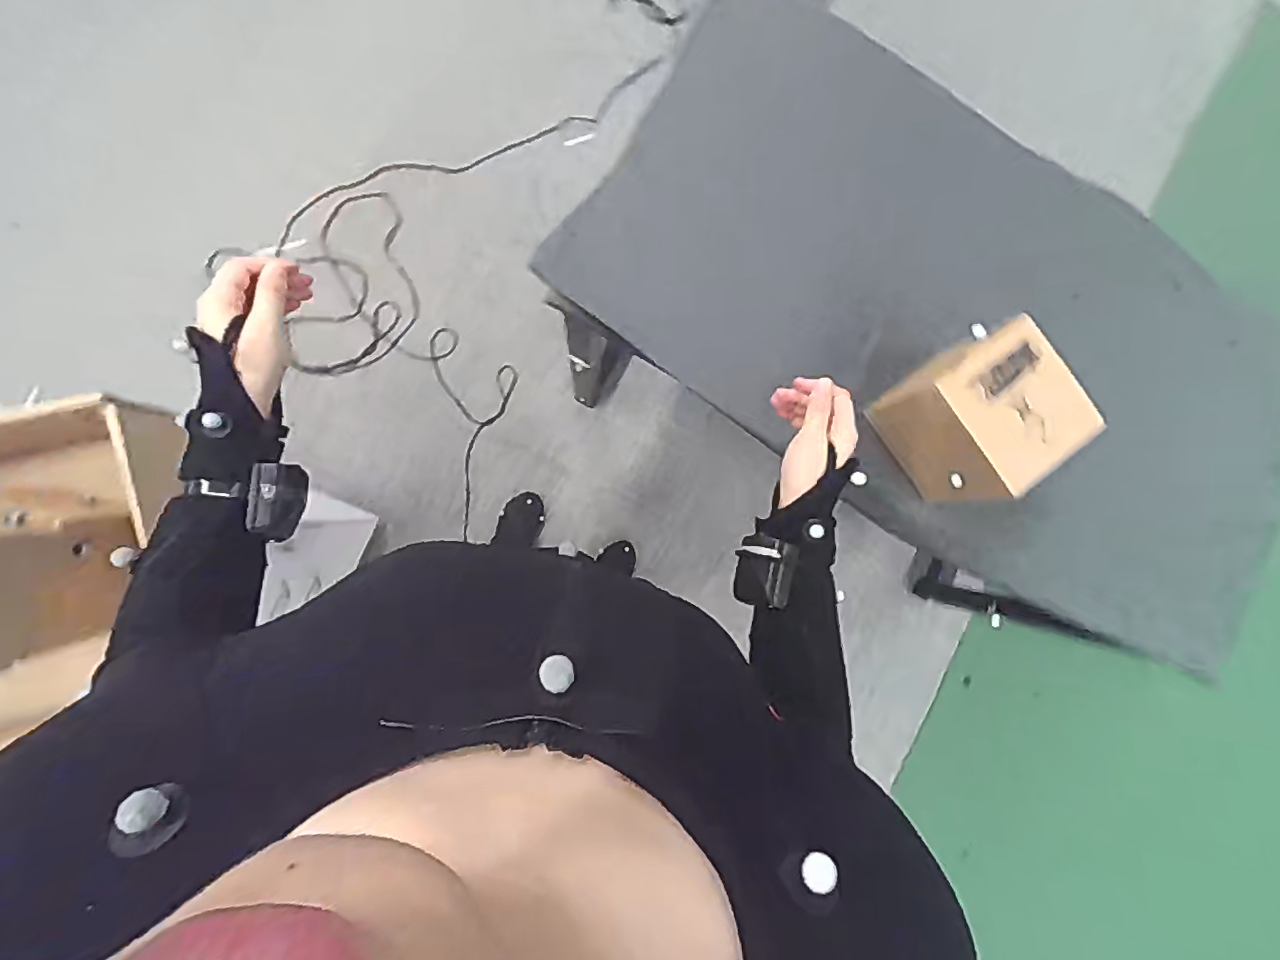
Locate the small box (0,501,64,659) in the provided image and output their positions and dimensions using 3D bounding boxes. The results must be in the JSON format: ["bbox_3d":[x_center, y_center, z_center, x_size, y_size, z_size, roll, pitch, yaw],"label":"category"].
[{"bbox_3d":[-0.767,0.098,0.551,0.168,0.176,0.179,20,88,-3],"label":"small box"}]
